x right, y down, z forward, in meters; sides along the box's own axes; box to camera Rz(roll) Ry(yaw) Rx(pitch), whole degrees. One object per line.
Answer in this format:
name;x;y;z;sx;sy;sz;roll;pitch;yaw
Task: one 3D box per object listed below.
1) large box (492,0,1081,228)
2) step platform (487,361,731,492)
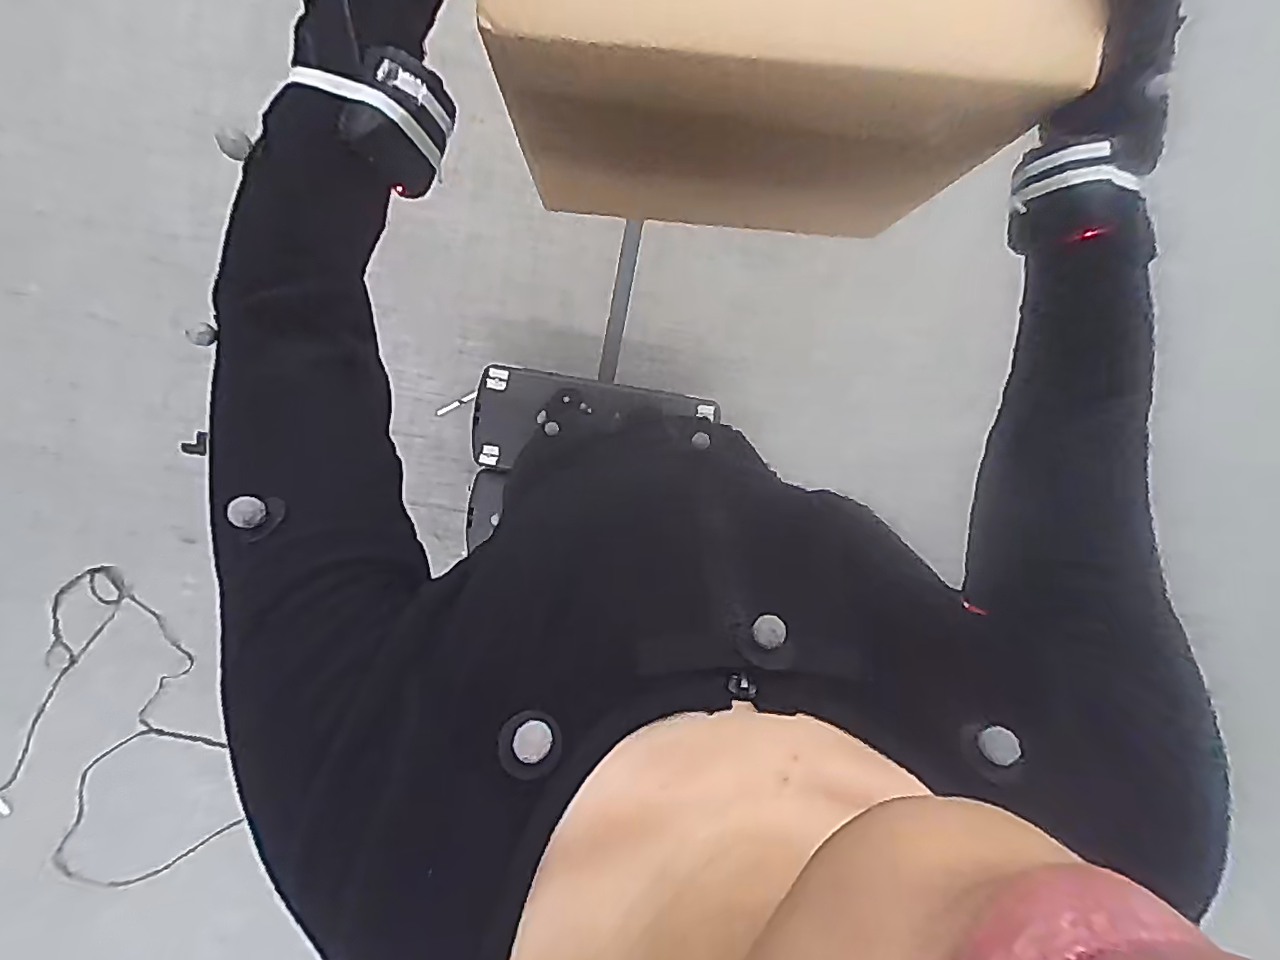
large box;0.098;-0.451;0.492;0.408;0.320;0.320;3;97;-4
step platform;-0.086;-0.151;1.555;0.684;0.204;0.286;8;97;-6
